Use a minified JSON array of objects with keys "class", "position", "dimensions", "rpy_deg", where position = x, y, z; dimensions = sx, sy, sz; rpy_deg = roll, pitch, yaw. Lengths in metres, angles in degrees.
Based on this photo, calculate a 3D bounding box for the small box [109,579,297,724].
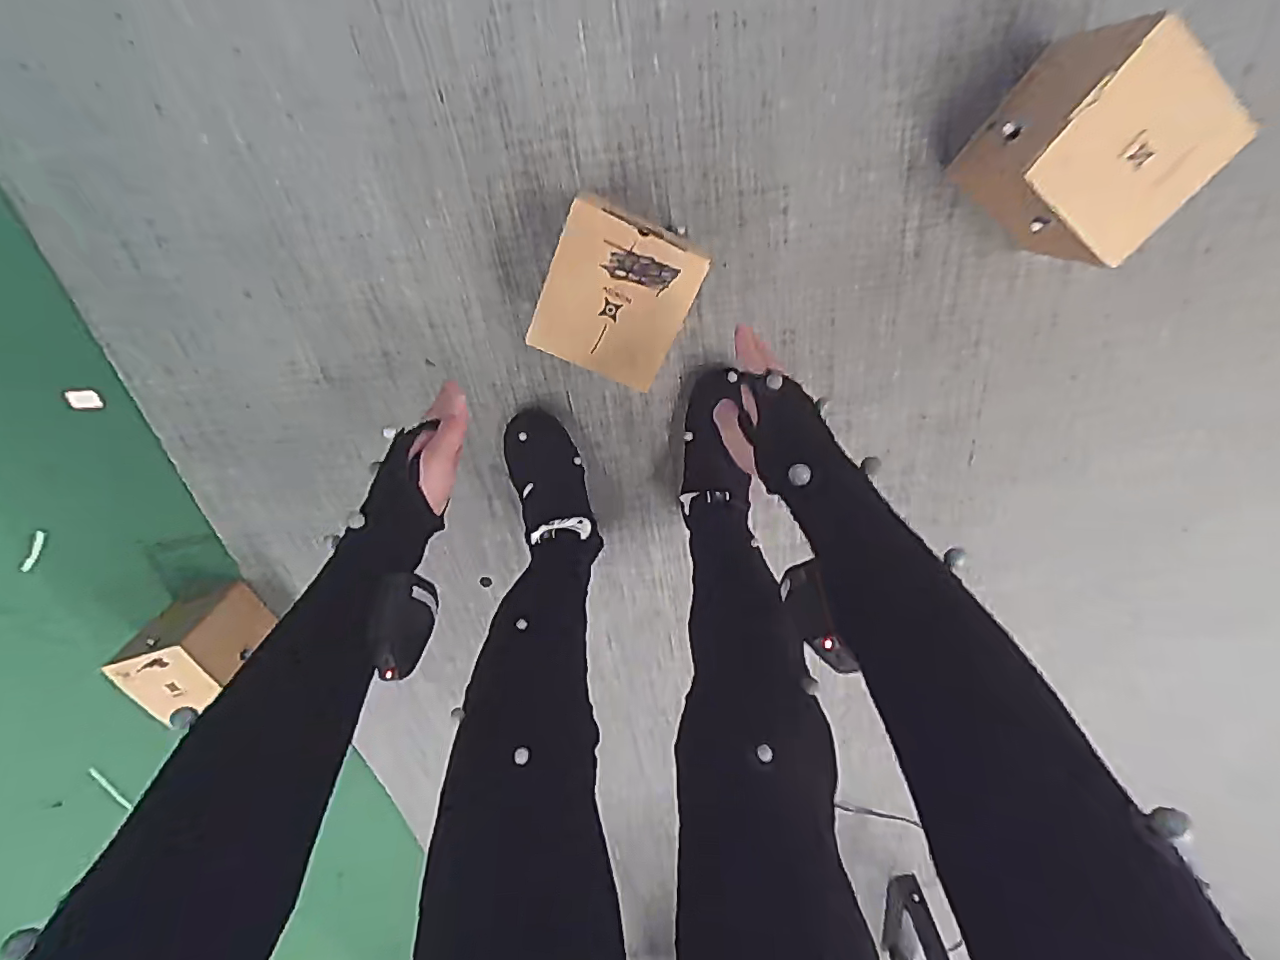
[{"class":"small box","position":[-0.792,0.316,1.006],"dimensions":[0.168,0.176,0.179],"rpy_deg":[-16,119,9]}]

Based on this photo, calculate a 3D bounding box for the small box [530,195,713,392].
[{"class":"small box","position":[-0.027,-0.247,0.699],"dimensions":[0.168,0.176,0.179],"rpy_deg":[21,118,-12]}]
